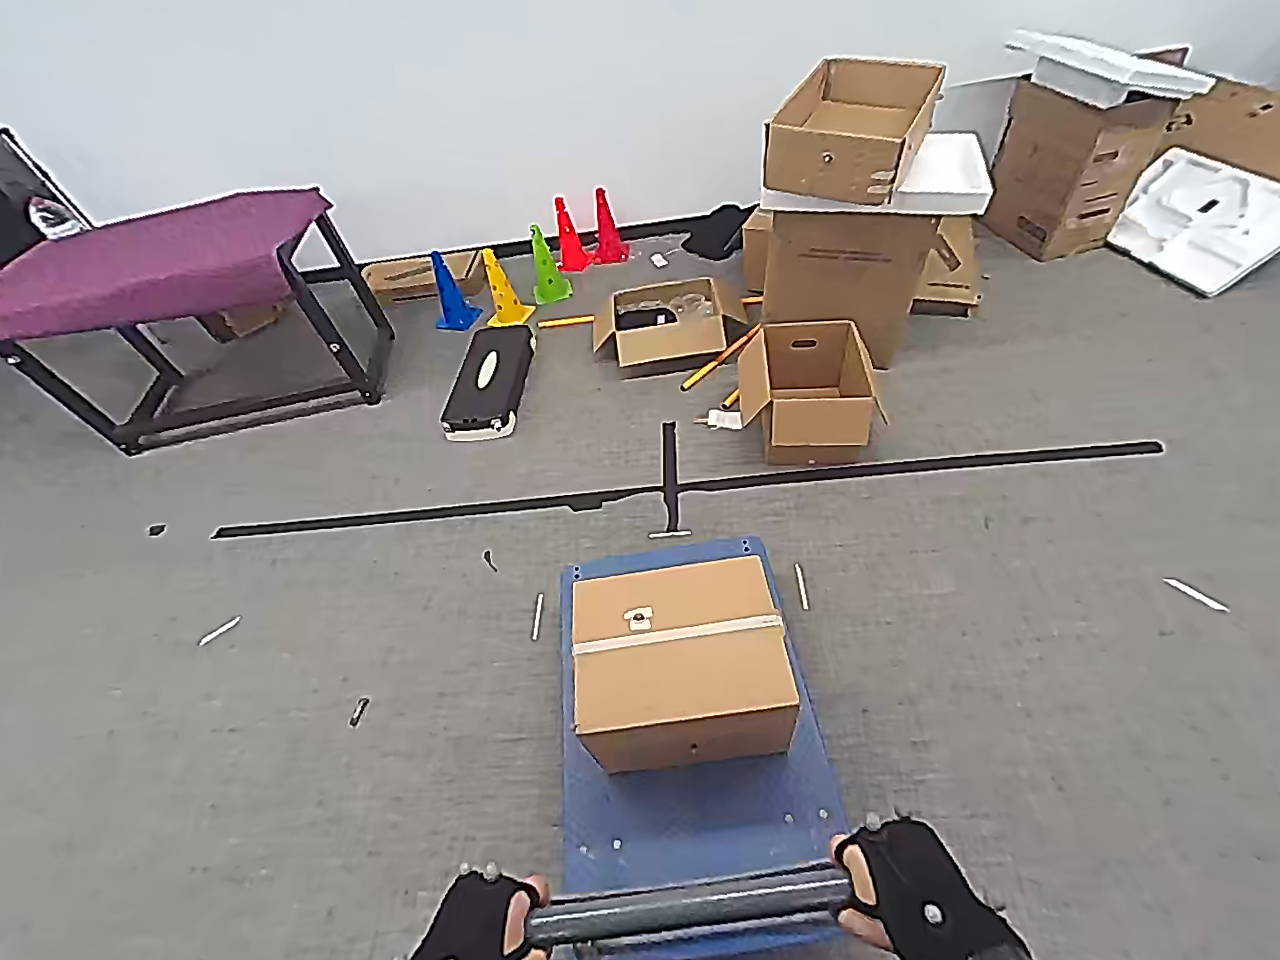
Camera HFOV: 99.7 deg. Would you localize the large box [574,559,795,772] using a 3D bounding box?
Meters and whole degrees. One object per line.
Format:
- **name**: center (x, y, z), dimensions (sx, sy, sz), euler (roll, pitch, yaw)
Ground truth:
- **large box**: center (0.091, 0.411, 1.177), dimensions (0.408, 0.320, 0.320), euler (-10, 48, 3)
